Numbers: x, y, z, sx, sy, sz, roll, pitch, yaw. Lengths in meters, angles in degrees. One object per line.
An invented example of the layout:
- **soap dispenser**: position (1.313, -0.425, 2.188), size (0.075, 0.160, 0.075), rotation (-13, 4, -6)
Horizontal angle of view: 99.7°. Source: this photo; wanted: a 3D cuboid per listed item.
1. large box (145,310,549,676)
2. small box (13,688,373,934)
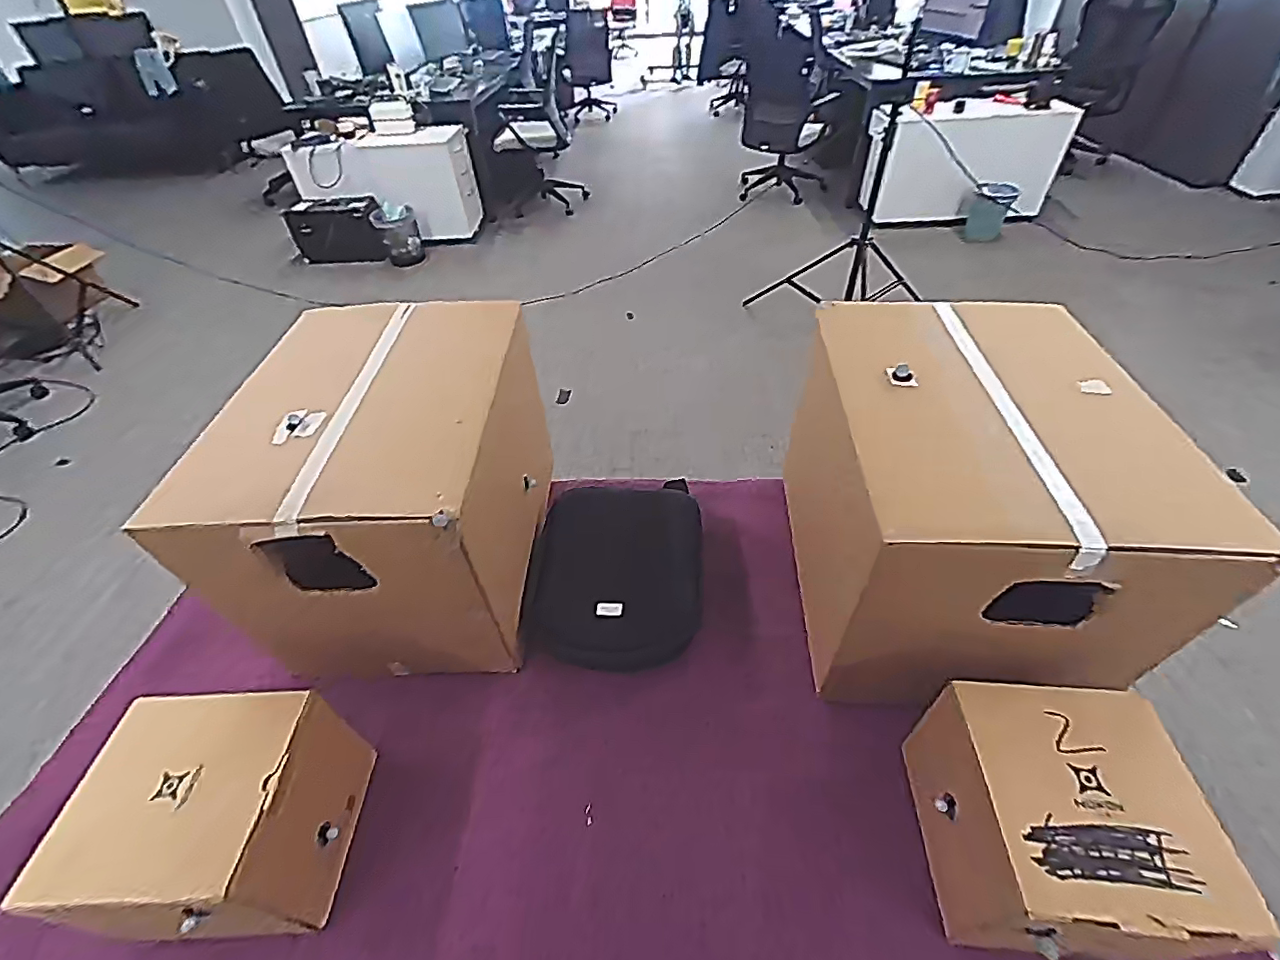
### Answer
- **large box**: position (-0.311, 0.010, 0.741), size (0.320, 0.320, 0.408), rotation (-3, 47, 2)
- **small box**: position (-0.398, 0.323, 0.528), size (0.179, 0.176, 0.168), rotation (-3, 44, -1)
